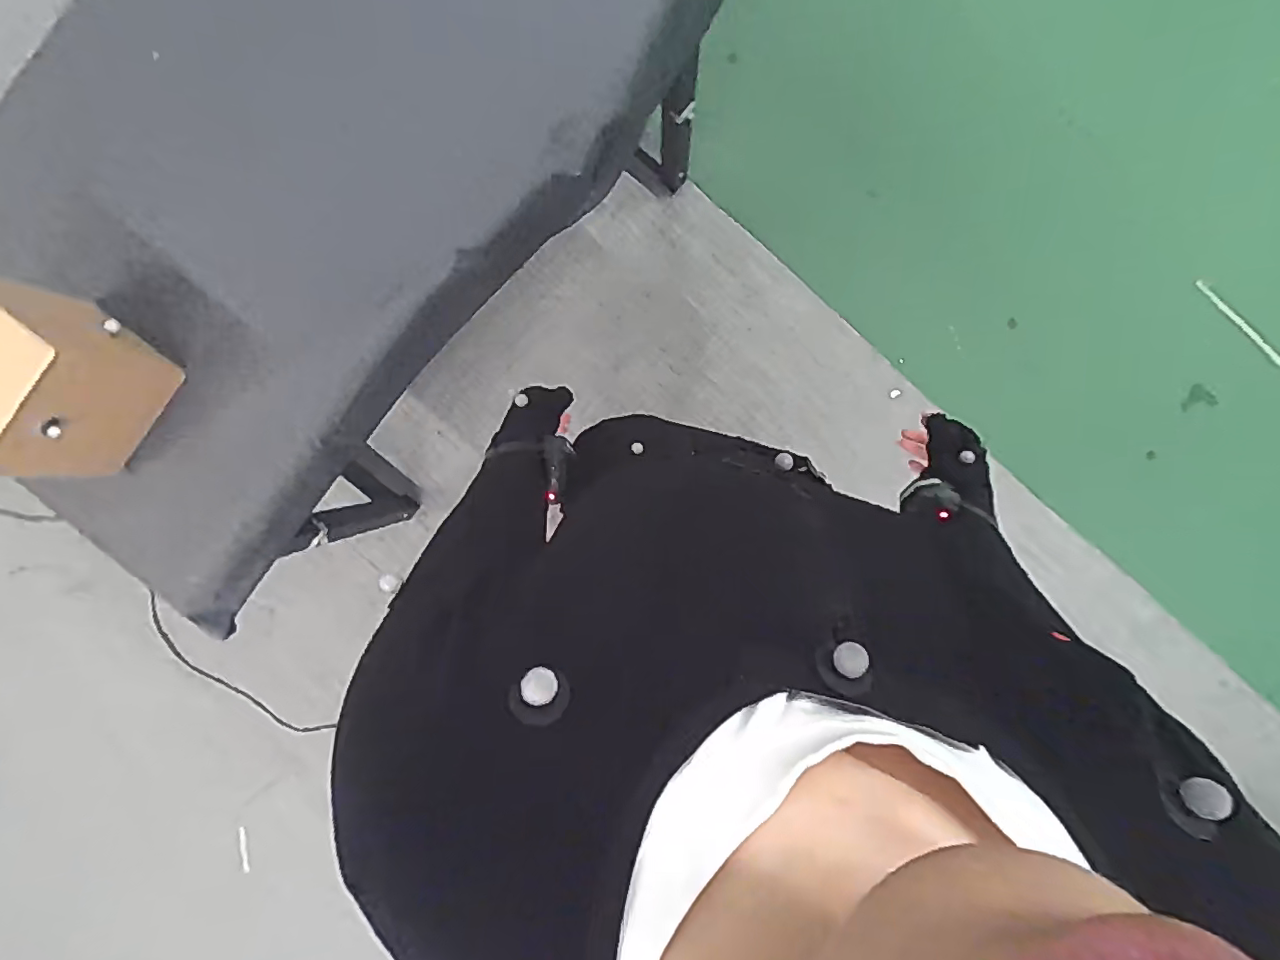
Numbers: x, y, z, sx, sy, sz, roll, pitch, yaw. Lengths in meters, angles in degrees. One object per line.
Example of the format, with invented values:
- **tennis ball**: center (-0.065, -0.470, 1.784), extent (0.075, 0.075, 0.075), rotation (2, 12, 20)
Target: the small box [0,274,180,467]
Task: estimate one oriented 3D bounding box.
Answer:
- **small box**: center (-0.738, -0.127, 0.668), extent (0.168, 0.176, 0.179), rotation (37, 92, -1)
